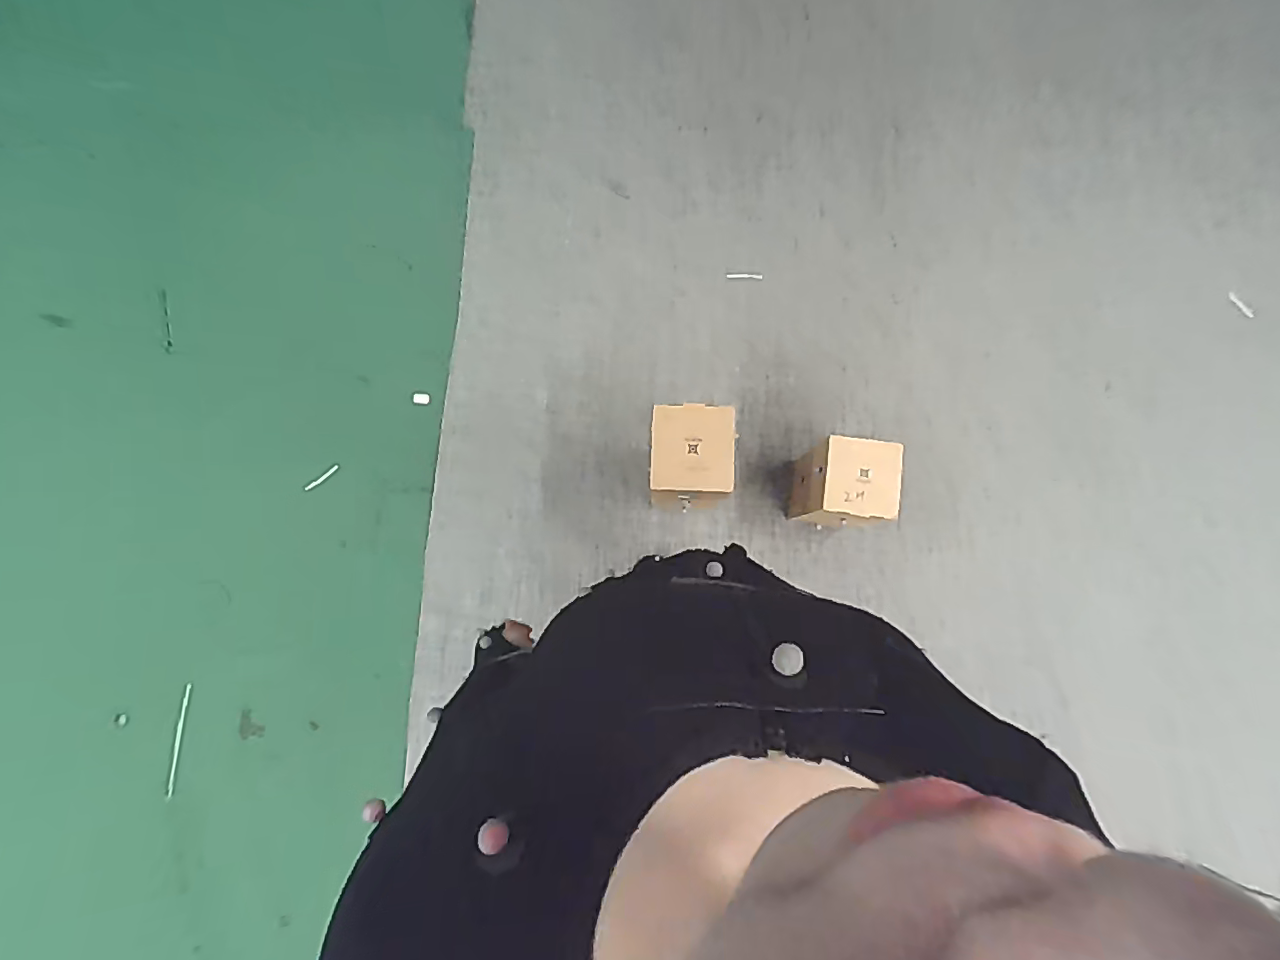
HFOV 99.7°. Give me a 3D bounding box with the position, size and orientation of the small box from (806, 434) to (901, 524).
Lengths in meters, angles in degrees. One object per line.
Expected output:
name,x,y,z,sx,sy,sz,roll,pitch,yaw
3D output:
small box,0.499,0.003,1.283,0.168,0.176,0.179,7,82,4

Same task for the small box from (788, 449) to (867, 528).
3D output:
small box,0.503,0.028,1.446,0.168,0.176,0.179,9,83,4

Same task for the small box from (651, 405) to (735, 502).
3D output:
small box,0.110,-0.050,1.143,0.168,0.176,0.179,1,82,4
